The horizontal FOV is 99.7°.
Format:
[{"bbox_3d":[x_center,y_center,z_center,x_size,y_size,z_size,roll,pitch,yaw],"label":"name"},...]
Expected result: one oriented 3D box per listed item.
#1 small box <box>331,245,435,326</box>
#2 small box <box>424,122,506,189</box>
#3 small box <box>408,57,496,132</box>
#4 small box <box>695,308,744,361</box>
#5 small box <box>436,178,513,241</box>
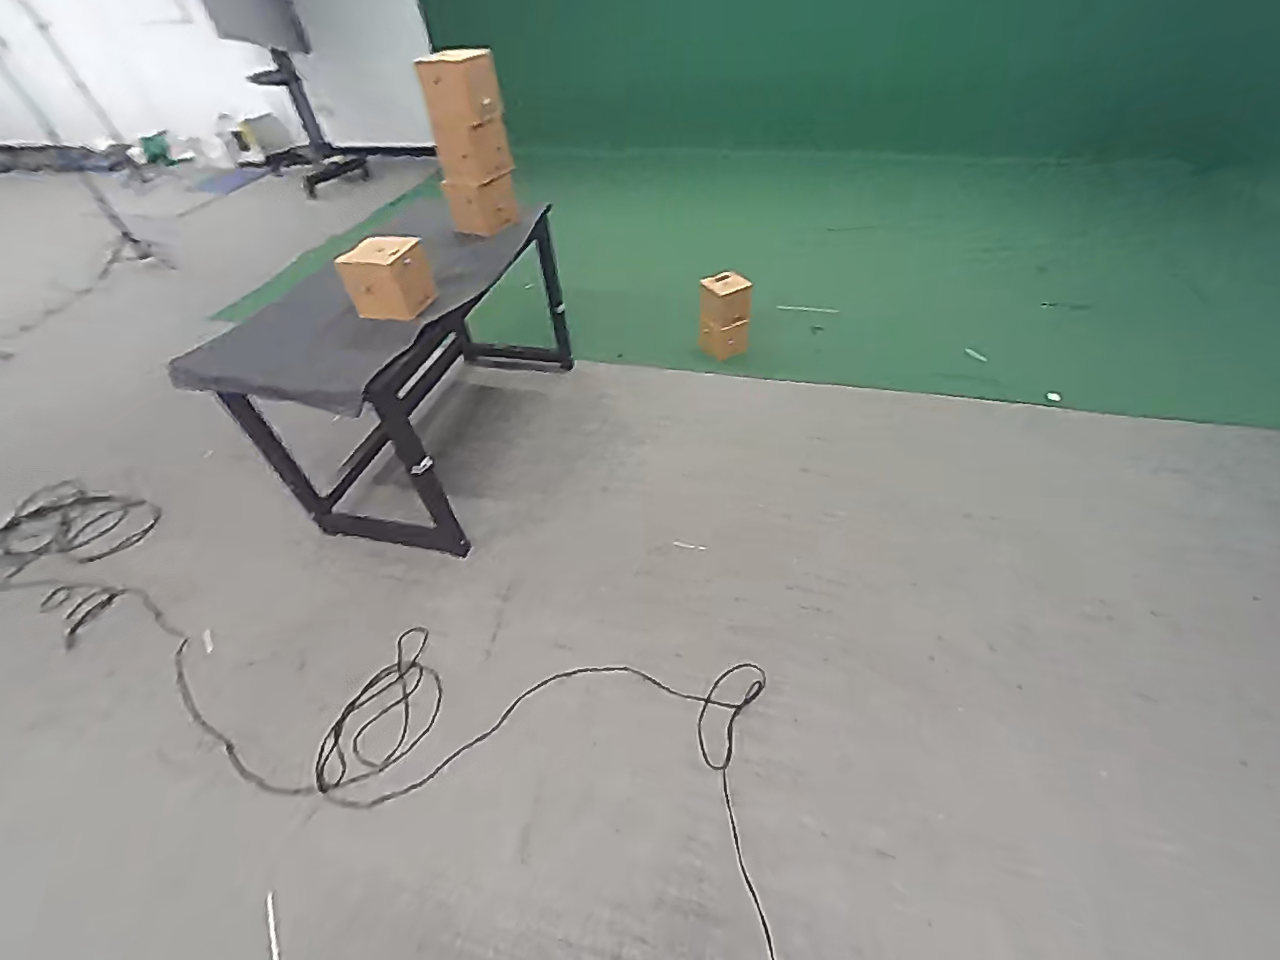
[{"bbox_3d":[-0.723,-0.553,1.540,0.179,0.176,0.168,6,47,13],"label":"small box"},{"bbox_3d":[-0.579,-1.094,1.817,0.179,0.176,0.168,18,49,24],"label":"small box"},{"bbox_3d":[-0.585,-1.213,1.703,0.179,0.176,0.168,14,49,19],"label":"small box"},{"bbox_3d":[0.378,-0.690,2.590,0.168,0.176,0.179,-25,49,-18],"label":"small box"},{"bbox_3d":[-0.581,-0.969,1.922,0.179,0.176,0.168,22,52,27],"label":"small box"}]
